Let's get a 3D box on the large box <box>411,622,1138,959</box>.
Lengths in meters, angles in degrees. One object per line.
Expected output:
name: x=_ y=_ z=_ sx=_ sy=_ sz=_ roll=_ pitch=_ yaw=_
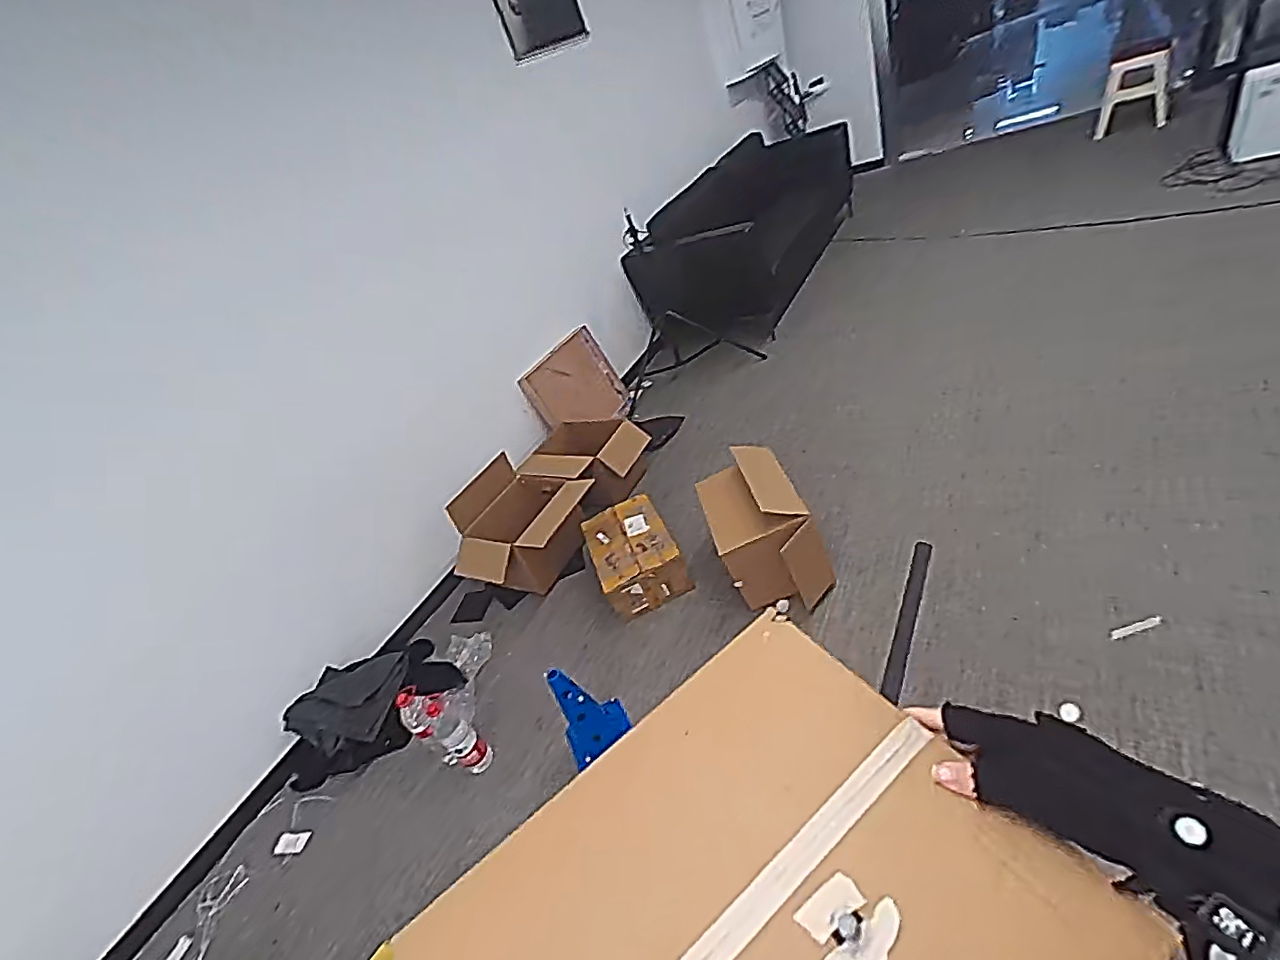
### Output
large box: x=0.100 y=0.418 z=0.458 sx=0.408 sy=0.320 sz=0.320 roll=-36 pitch=42 yaw=-17
